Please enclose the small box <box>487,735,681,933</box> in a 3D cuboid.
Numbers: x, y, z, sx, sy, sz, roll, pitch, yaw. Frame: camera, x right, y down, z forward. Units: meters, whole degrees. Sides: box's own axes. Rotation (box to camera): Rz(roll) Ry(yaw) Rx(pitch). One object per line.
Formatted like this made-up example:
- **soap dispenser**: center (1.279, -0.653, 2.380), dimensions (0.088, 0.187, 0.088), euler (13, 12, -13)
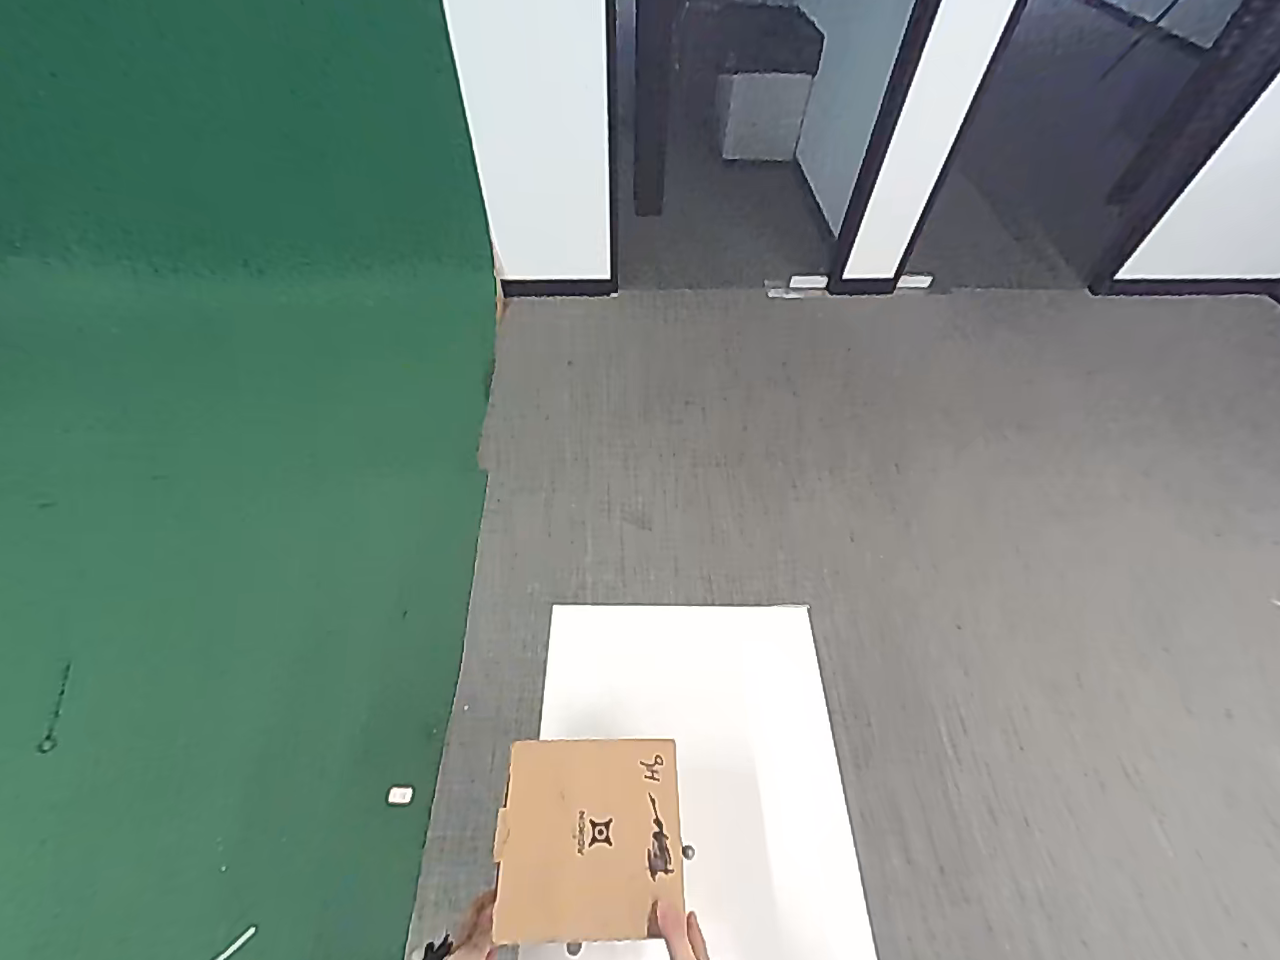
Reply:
- **small box**: center (-0.053, 0.386, 0.590), dimensions (0.179, 0.176, 0.168), euler (1, 52, -3)
